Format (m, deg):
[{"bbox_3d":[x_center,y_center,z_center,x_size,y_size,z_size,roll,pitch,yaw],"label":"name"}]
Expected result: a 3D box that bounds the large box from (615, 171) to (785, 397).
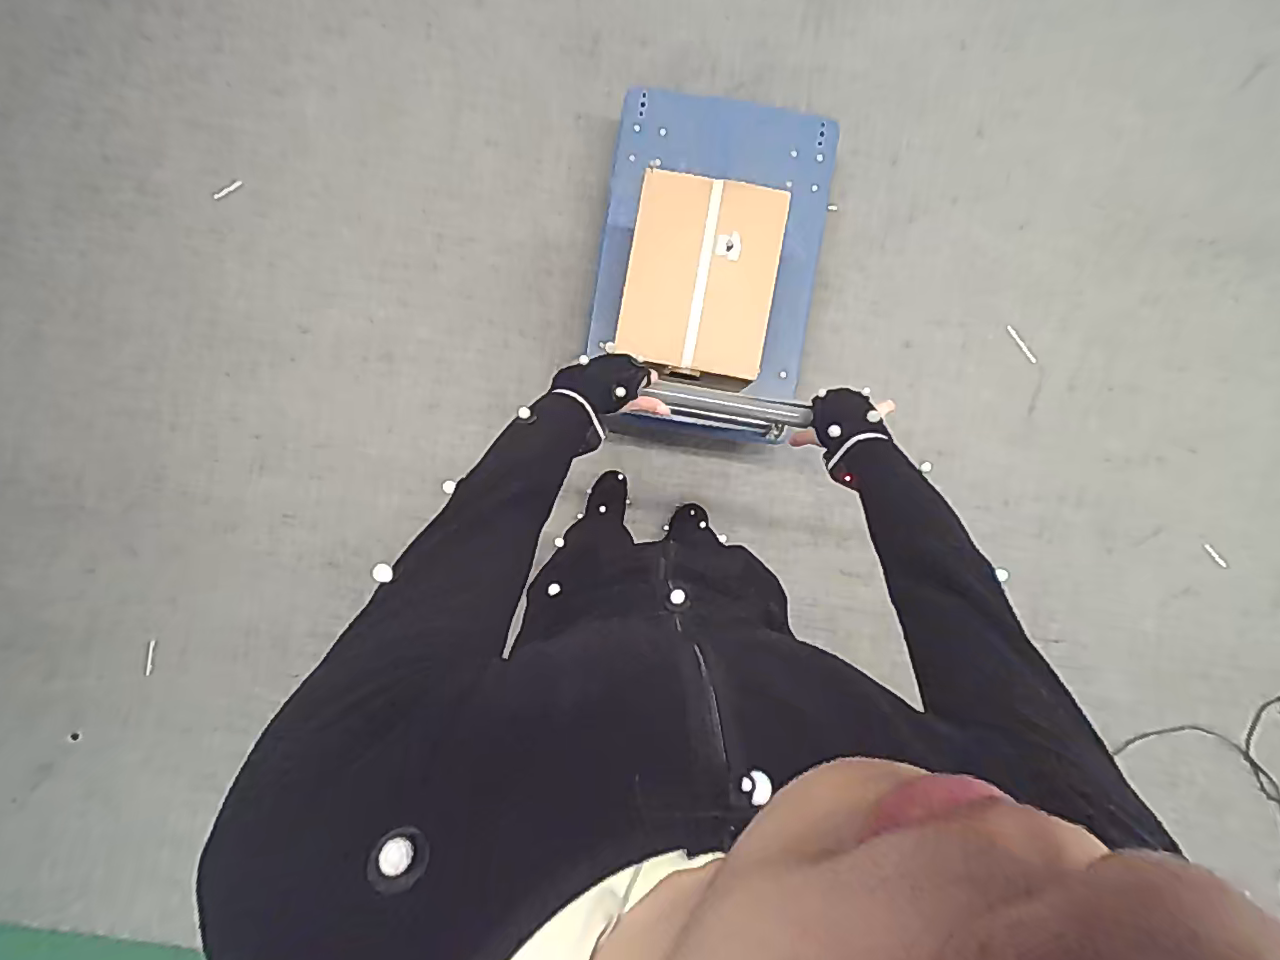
[{"bbox_3d":[0.128,-0.434,1.289,0.320,0.320,0.408,10,90,-1],"label":"large box"}]
